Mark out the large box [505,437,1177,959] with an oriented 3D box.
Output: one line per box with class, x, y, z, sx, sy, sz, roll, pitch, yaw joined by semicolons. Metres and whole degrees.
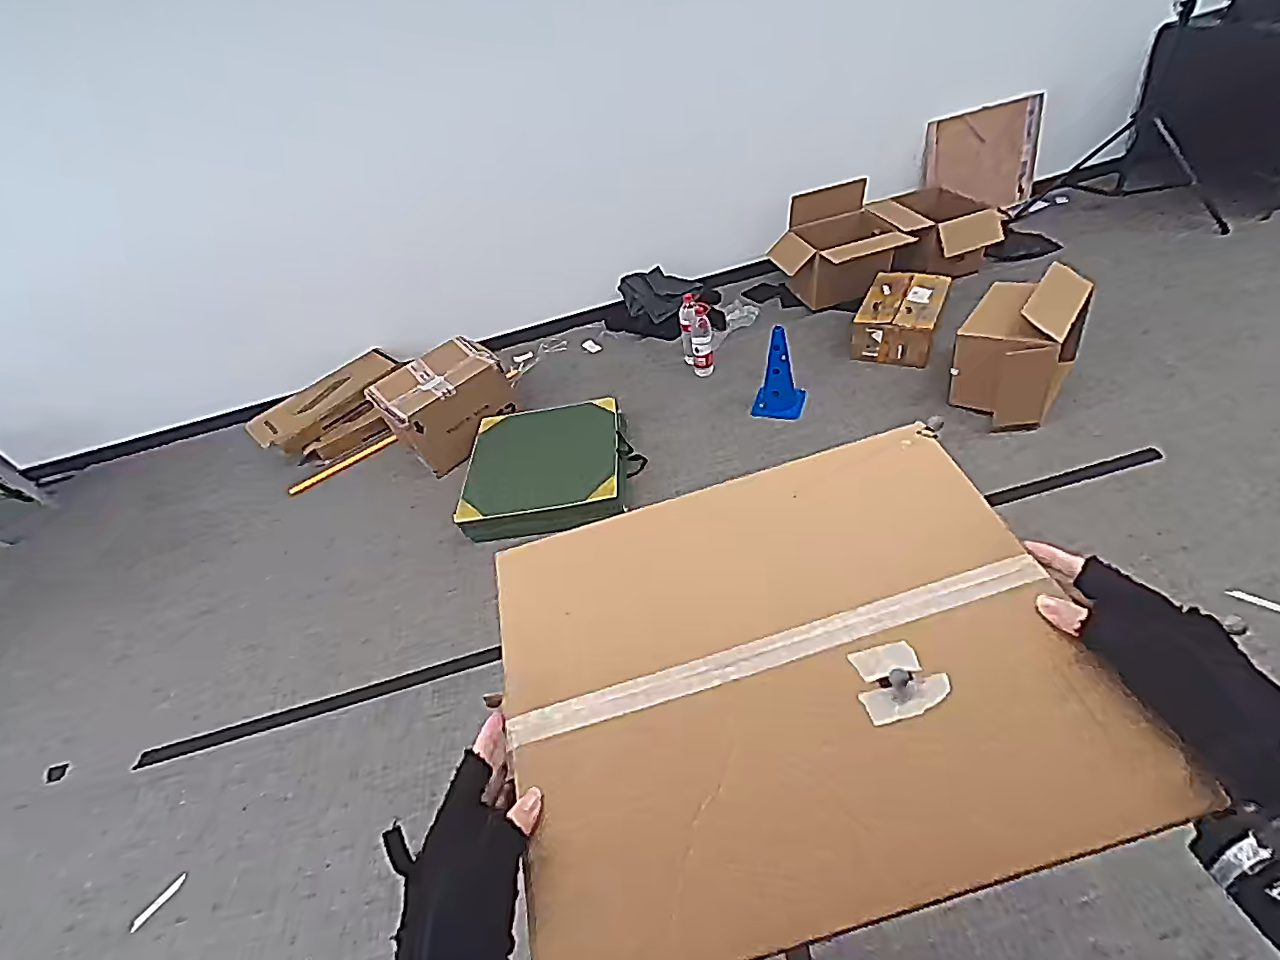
large box;0.124;0.220;0.527;0.408;0.320;0.320;-17;53;-1
